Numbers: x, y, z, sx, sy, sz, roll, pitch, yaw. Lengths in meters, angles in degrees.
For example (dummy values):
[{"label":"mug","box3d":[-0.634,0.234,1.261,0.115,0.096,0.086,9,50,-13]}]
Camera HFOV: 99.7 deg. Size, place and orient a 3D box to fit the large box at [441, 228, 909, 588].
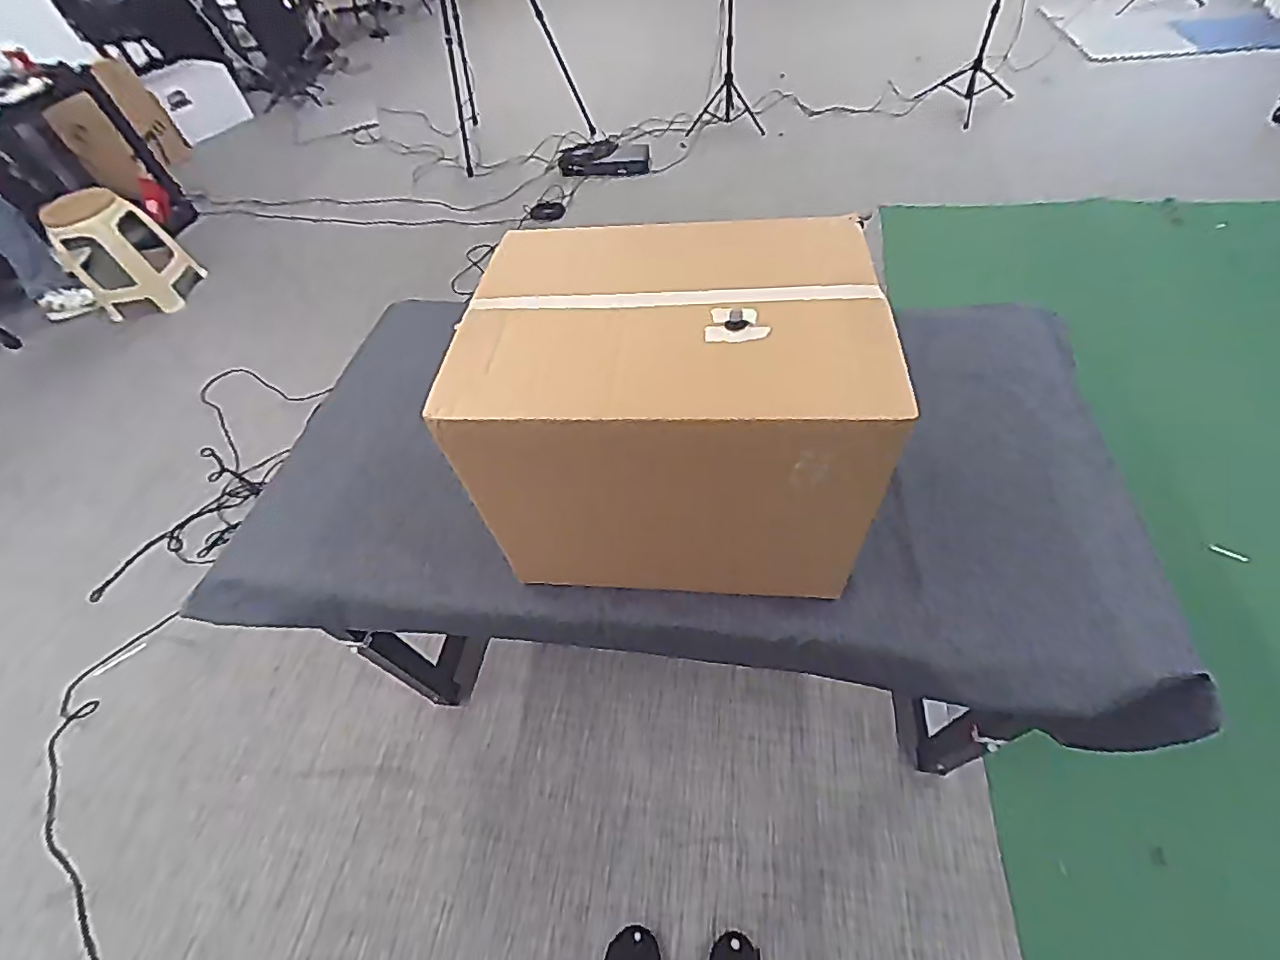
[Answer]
[{"label":"large box","box3d":[0.042,-0.077,0.658,0.408,0.320,0.320,1,52,7]}]
